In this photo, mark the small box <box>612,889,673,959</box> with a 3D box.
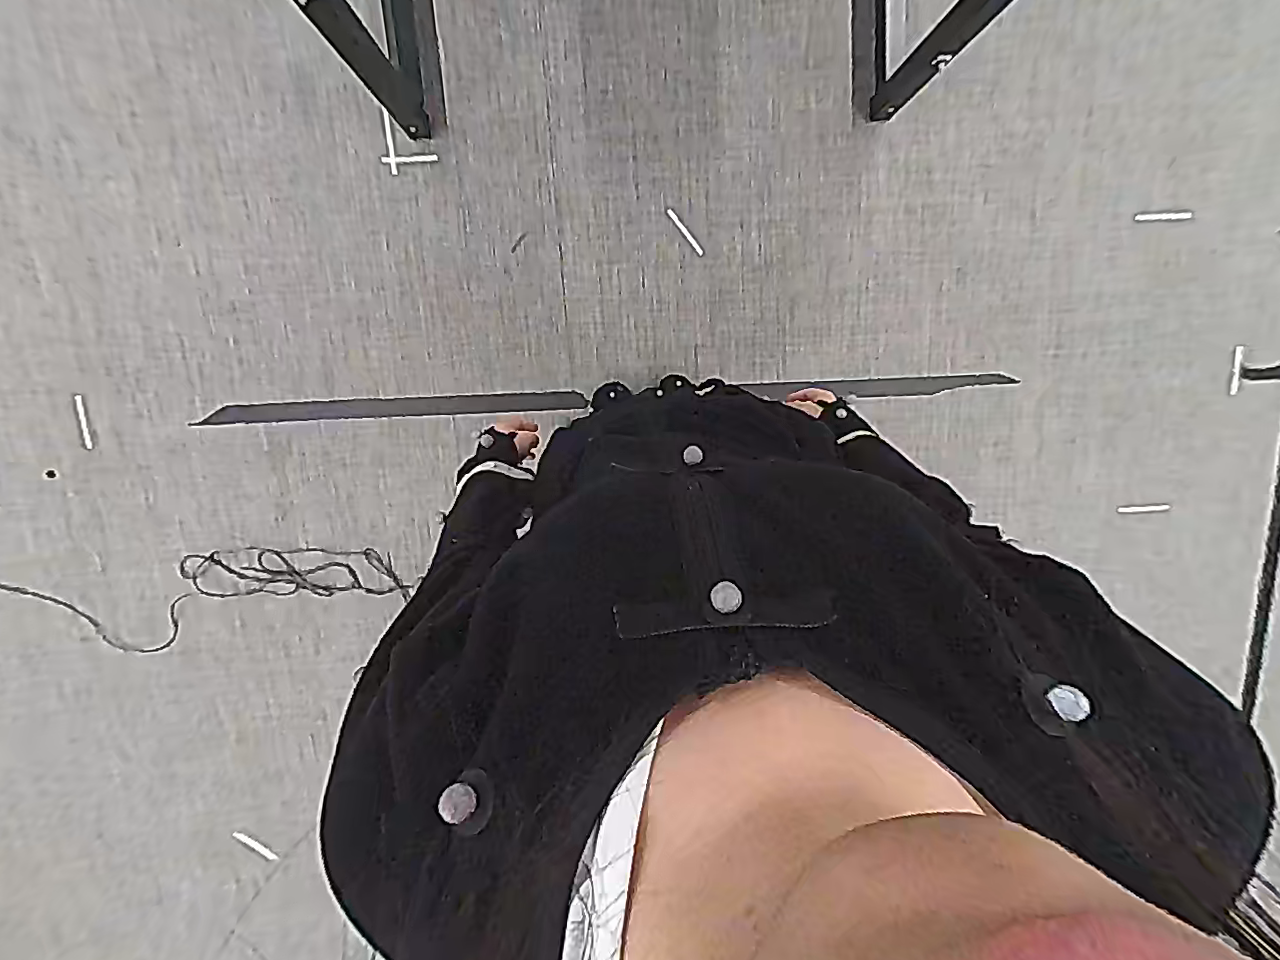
[{"bbox_3d":[0.003,1.424,1.695,0.179,0.176,0.168,3,100,-4],"label":"small box"}]

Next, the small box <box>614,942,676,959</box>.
[{"bbox_3d":[0.014,1.462,1.536,0.179,0.176,0.168,6,99,-5],"label":"small box"}]
